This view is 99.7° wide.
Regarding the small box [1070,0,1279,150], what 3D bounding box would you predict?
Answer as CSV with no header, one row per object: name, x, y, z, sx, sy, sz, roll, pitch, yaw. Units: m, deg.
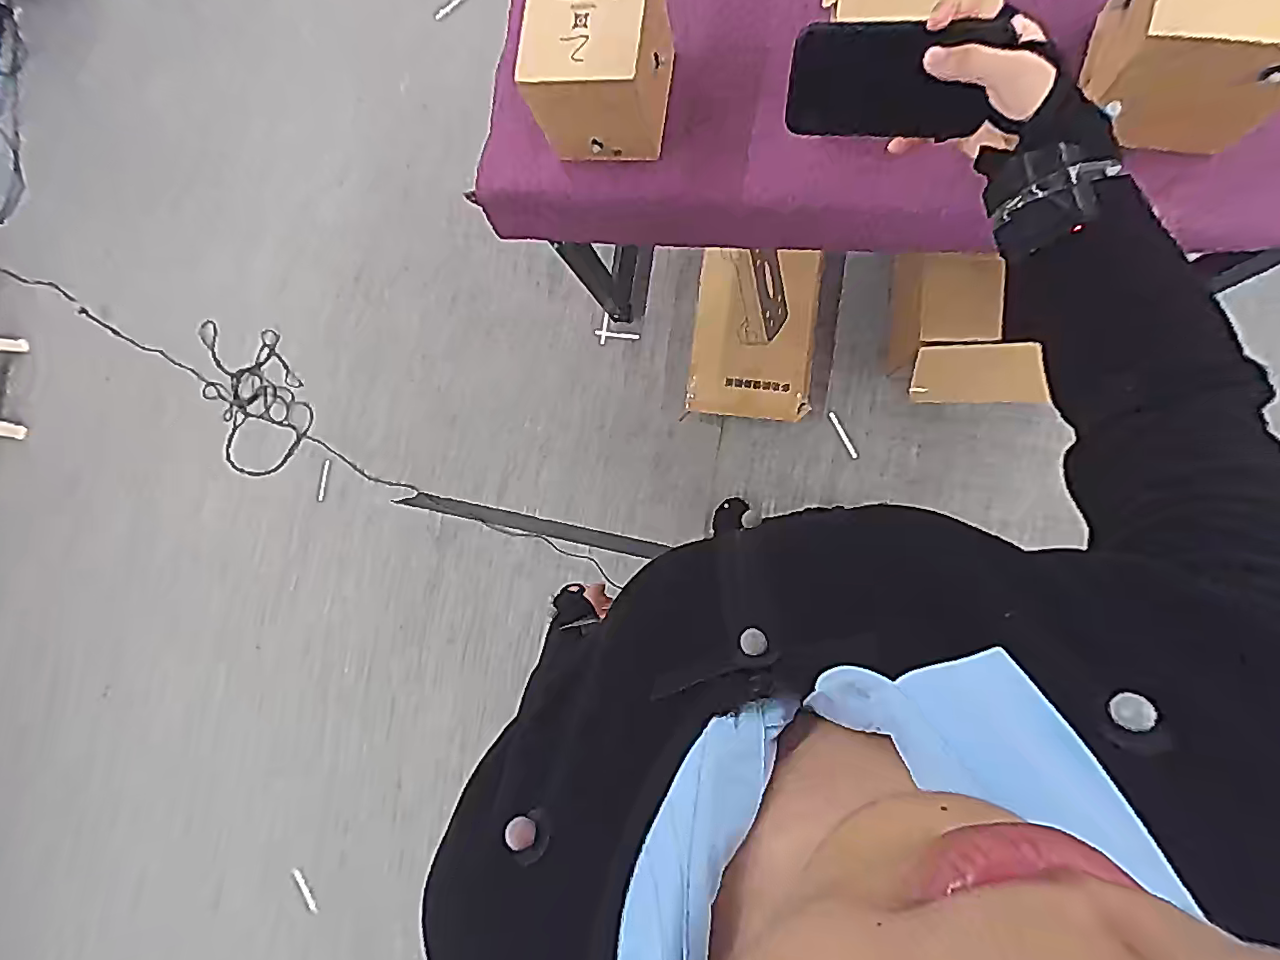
small box,0.635,-0.504,0.605,0.179,0.176,0.168,15,91,13

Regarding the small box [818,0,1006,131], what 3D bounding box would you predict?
small box,0.331,-0.570,0.675,0.179,0.176,0.168,7,87,13
